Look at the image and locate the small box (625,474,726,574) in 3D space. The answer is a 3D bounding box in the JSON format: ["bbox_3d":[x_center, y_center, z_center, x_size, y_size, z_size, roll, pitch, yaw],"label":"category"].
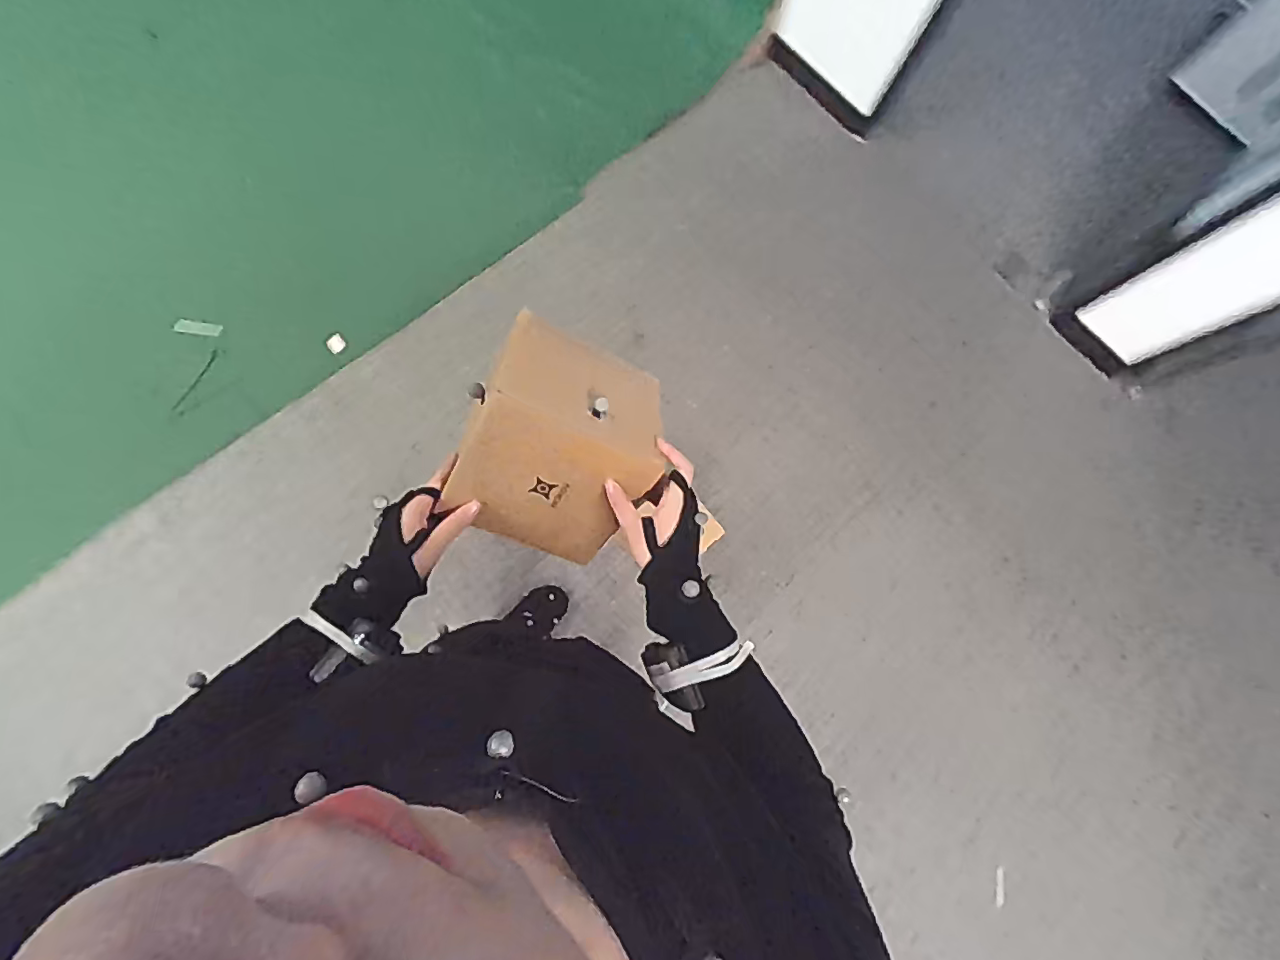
[{"bbox_3d":[0.078,0.116,1.324,0.168,0.176,0.179,-37,84,-11],"label":"small box"}]

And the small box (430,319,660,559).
[{"bbox_3d":[-0.099,-0.048,0.588,0.179,0.168,0.176,23,37,-23],"label":"small box"}]
